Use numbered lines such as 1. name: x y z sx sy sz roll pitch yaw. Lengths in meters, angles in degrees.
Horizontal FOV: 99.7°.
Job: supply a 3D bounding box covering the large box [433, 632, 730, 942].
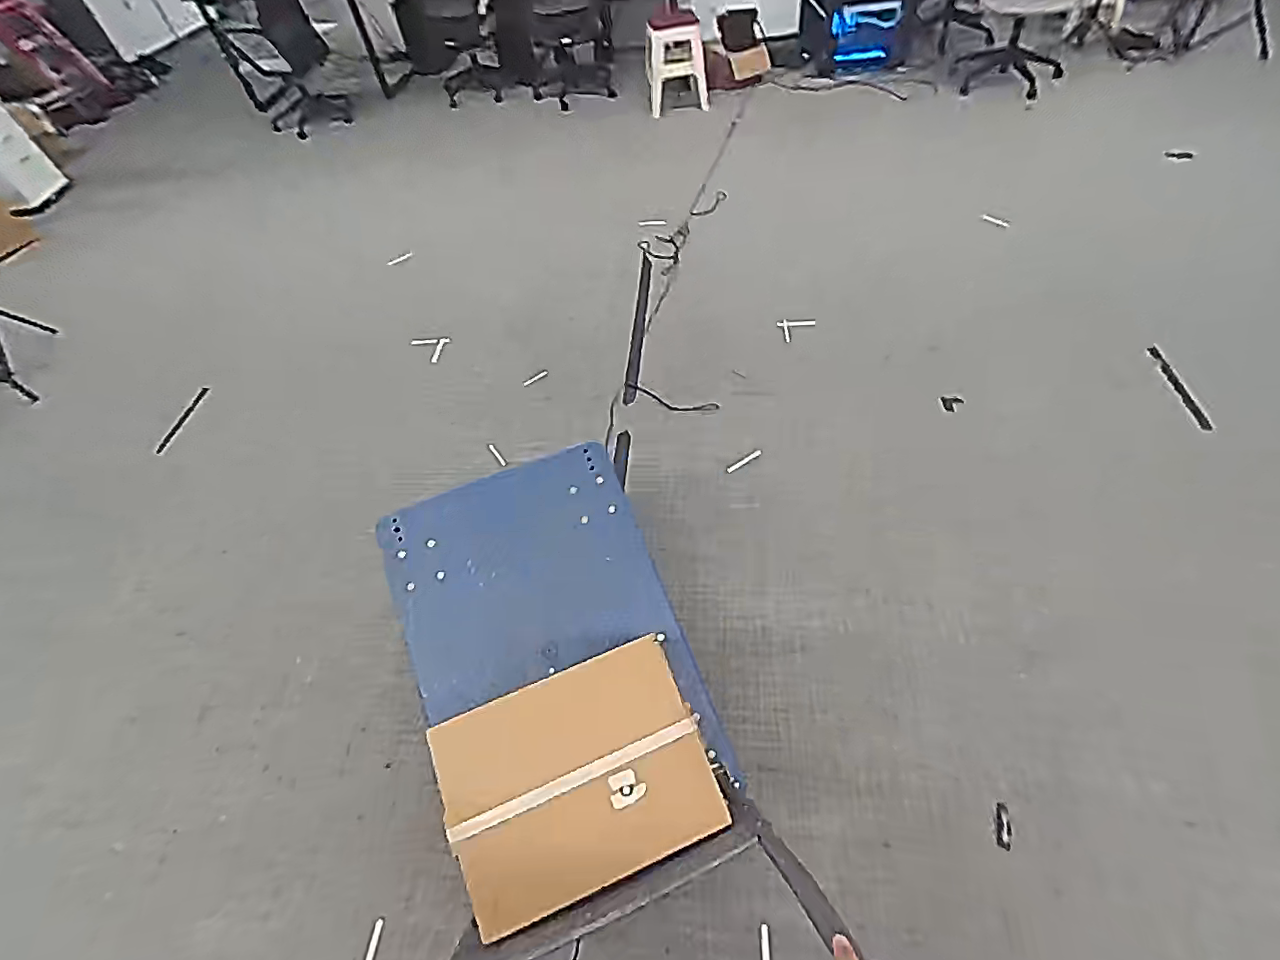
1. large box: -0.104 0.521 1.005 0.408 0.320 0.320 -22 74 -10
